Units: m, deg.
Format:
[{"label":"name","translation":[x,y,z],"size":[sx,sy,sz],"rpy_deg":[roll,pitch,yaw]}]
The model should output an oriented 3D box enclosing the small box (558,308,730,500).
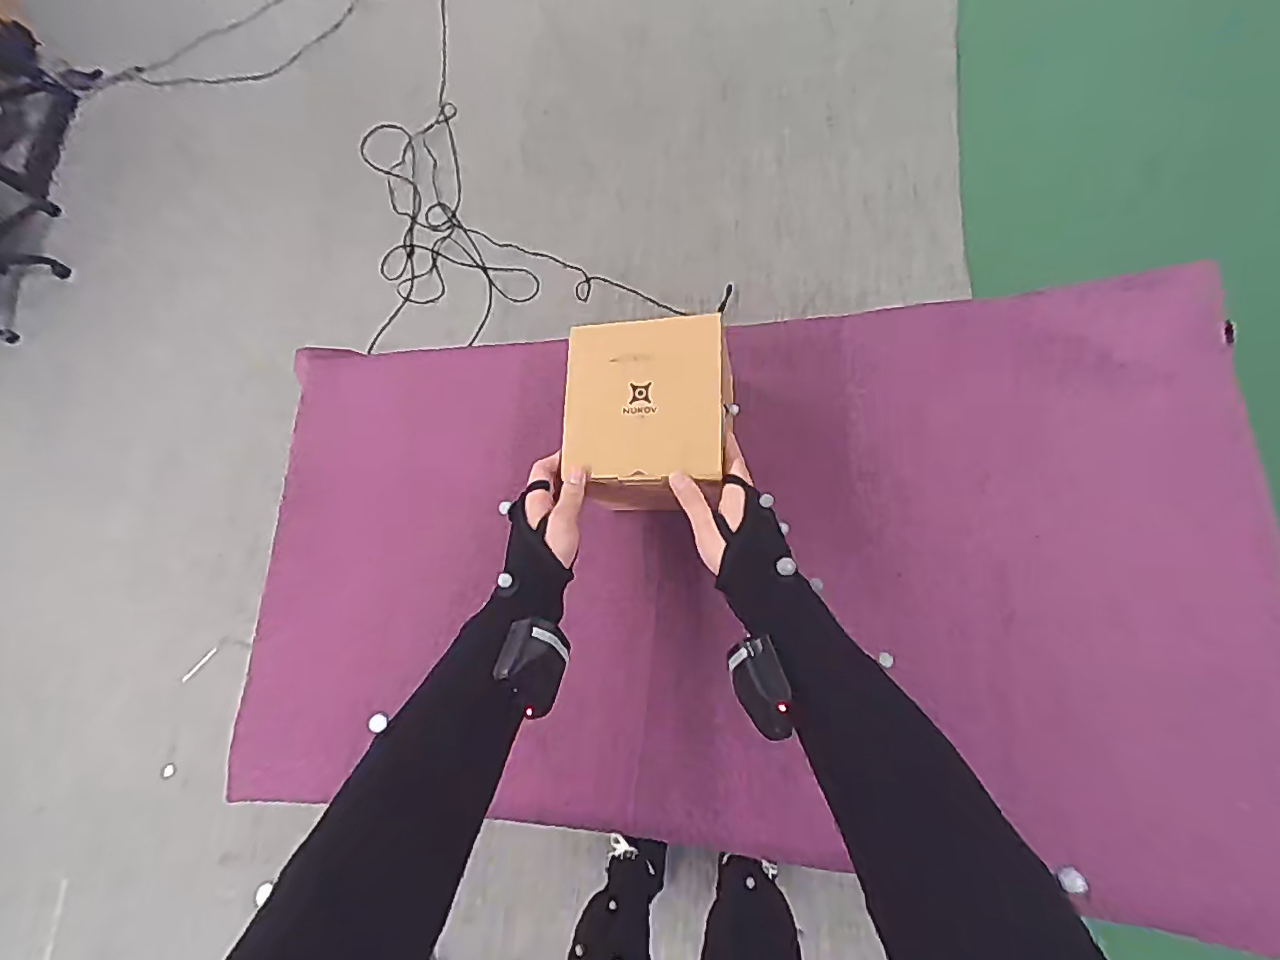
[{"label":"small box","translation":[0.016,-0.073,0.628],"size":[0.168,0.176,0.179],"rpy_deg":[-1,77,14]}]
